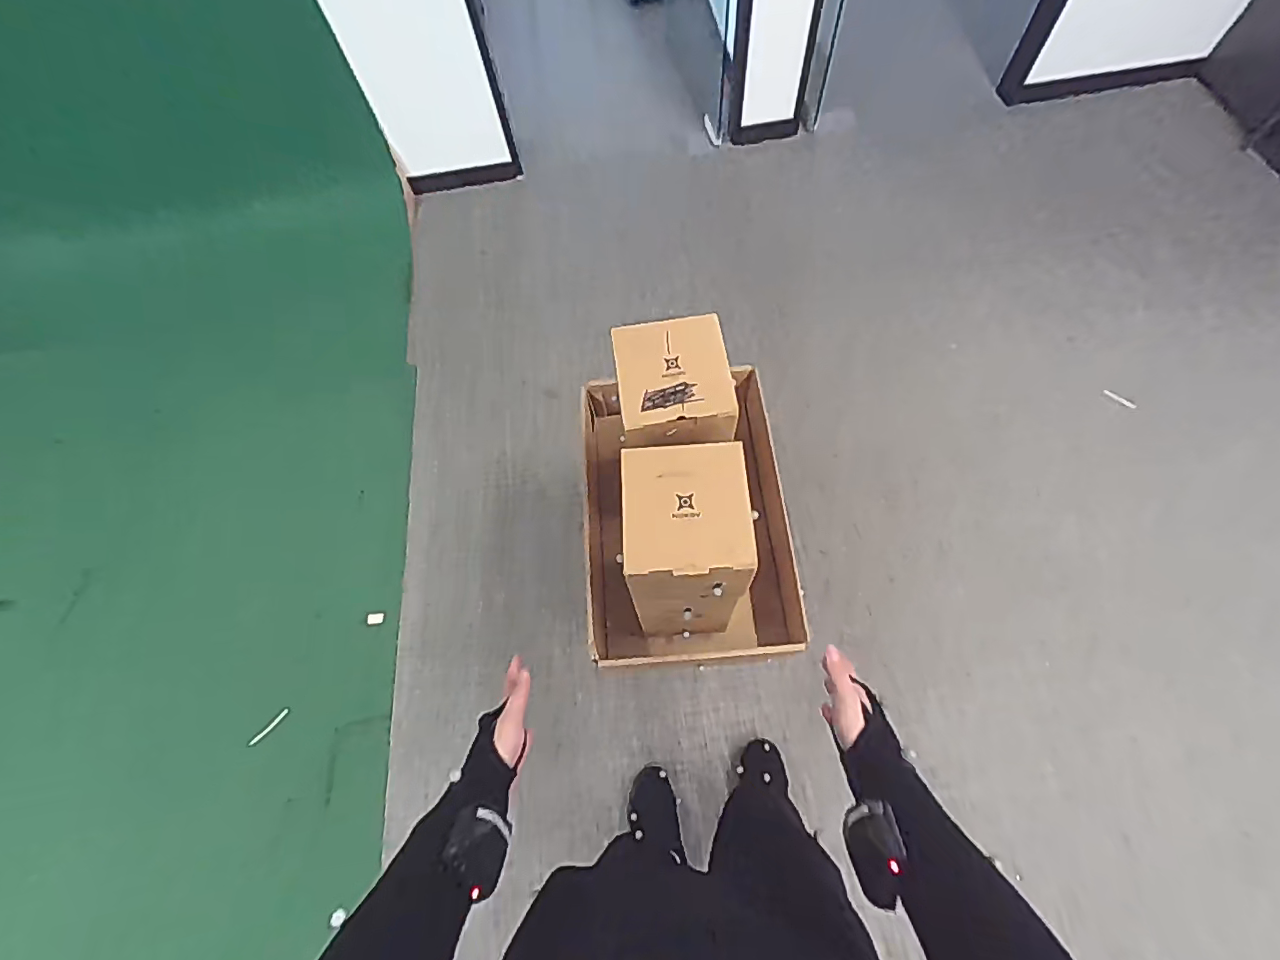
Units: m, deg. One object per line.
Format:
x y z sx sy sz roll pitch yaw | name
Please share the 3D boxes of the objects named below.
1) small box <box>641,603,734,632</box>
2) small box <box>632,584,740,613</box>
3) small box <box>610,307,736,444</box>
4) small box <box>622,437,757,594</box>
0.085 0.189 1.054 0.168 0.176 0.179 -5 65 3 | small box
0.072 0.122 0.906 0.168 0.176 0.179 -5 66 2 | small box
0.051 -0.138 0.850 0.168 0.176 0.179 -8 68 1 | small box
0.065 0.059 0.755 0.168 0.176 0.179 -3 65 3 | small box
